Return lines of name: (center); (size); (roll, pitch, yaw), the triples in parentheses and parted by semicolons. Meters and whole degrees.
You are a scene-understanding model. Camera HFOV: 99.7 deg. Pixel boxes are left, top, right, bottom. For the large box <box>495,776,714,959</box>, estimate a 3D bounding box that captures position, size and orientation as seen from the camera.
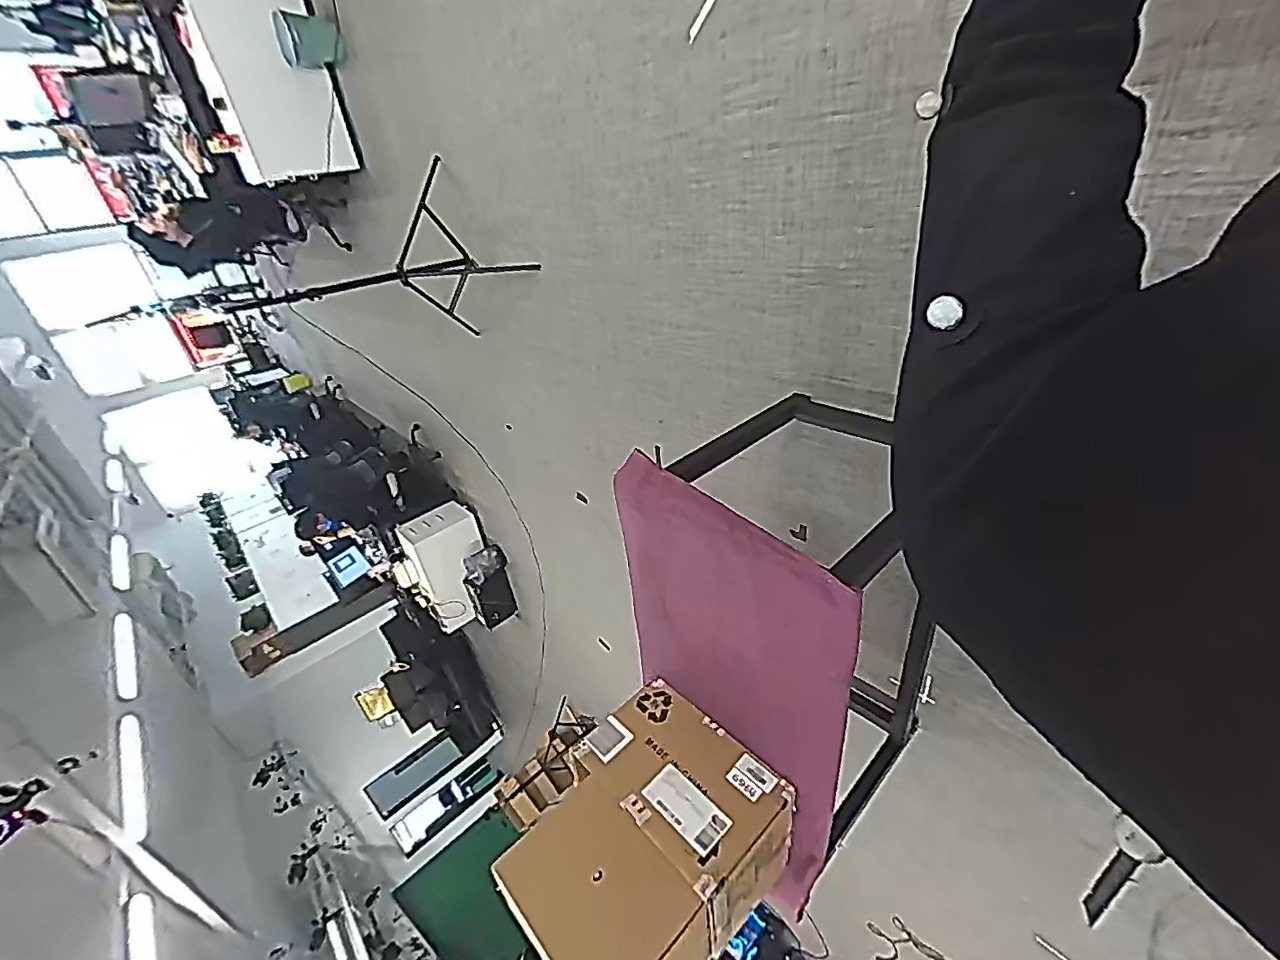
large box: (-0.081, 1.015, 1.279); (0.408, 0.320, 0.320); (24, 134, 42)
